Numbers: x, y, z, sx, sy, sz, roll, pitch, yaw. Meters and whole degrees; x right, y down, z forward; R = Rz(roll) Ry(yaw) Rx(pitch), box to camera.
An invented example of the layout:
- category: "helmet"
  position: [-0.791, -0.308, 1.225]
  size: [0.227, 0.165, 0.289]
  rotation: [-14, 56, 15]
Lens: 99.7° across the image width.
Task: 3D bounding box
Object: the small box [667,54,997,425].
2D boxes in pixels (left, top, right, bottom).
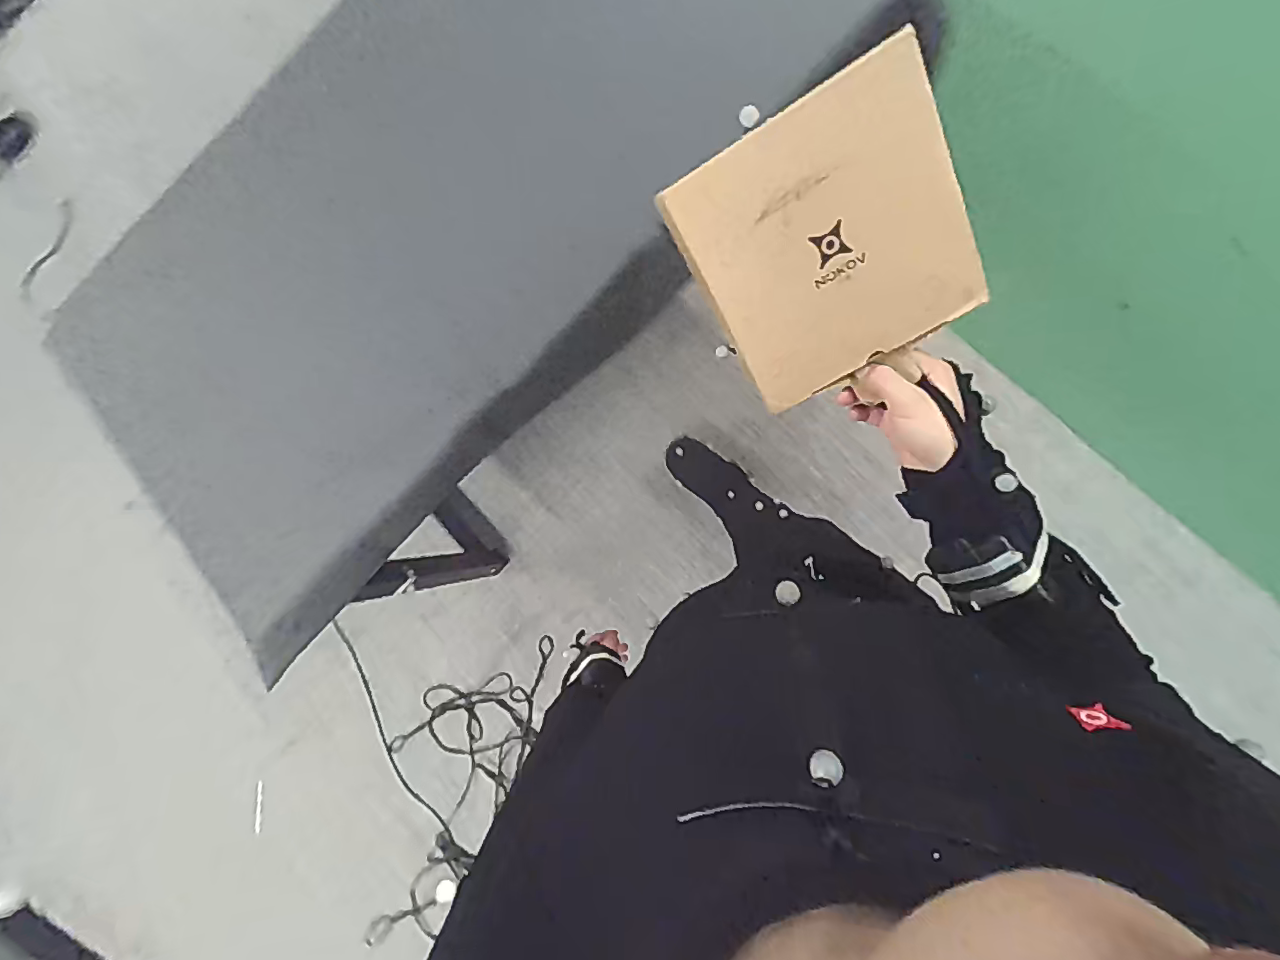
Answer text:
- category: "small box"
  position: [0.133, -0.177, 0.429]
  size: [0.168, 0.176, 0.179]
  rotation: [-28, 112, 13]
